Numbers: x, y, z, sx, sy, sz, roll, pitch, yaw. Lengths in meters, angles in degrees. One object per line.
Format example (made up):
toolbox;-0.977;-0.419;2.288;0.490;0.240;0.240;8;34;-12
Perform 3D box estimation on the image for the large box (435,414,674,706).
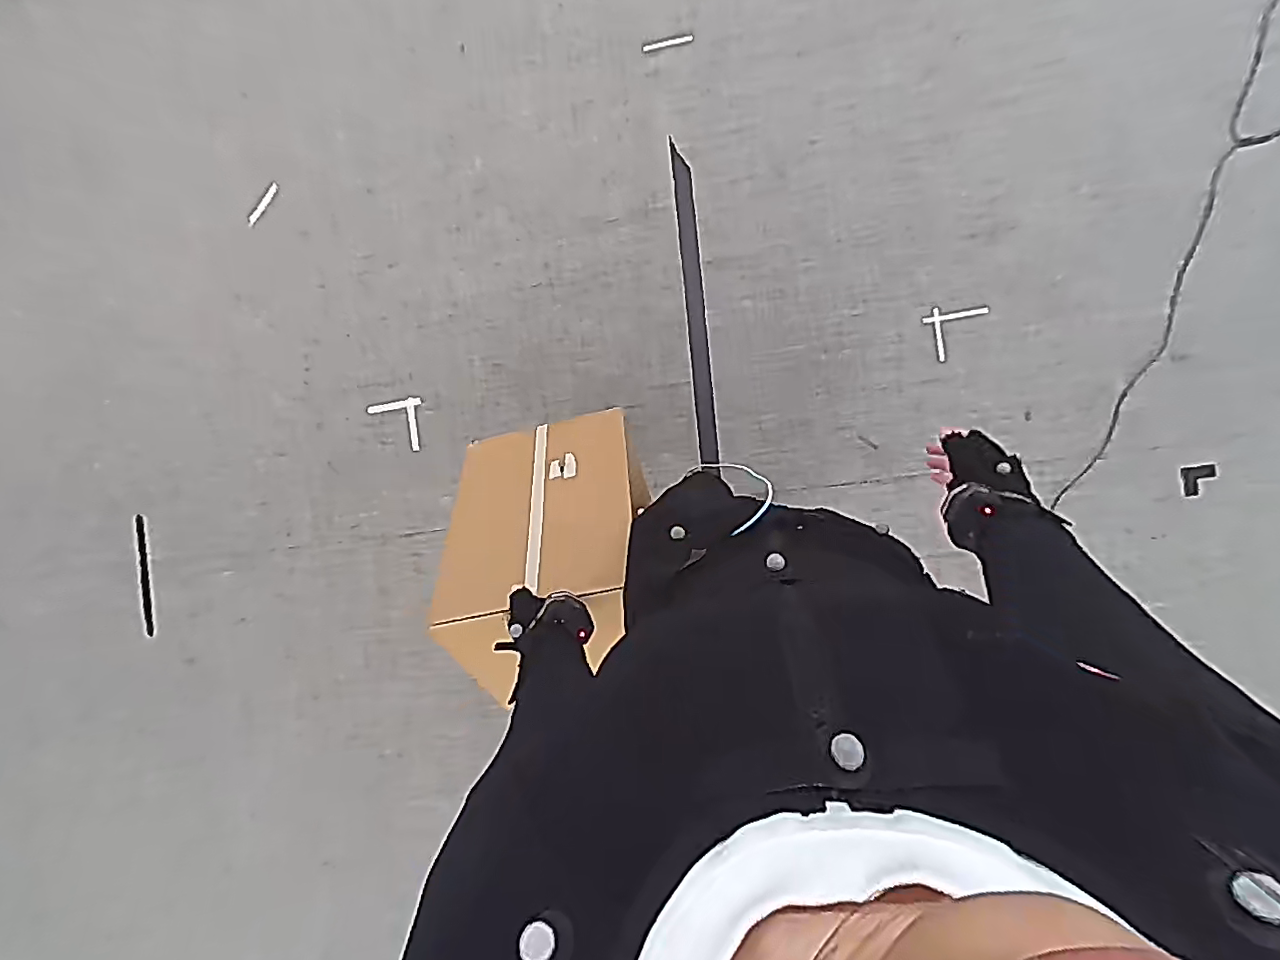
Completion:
large box;-0.135;0.145;1.014;0.320;0.320;0.408;-12;43;6
